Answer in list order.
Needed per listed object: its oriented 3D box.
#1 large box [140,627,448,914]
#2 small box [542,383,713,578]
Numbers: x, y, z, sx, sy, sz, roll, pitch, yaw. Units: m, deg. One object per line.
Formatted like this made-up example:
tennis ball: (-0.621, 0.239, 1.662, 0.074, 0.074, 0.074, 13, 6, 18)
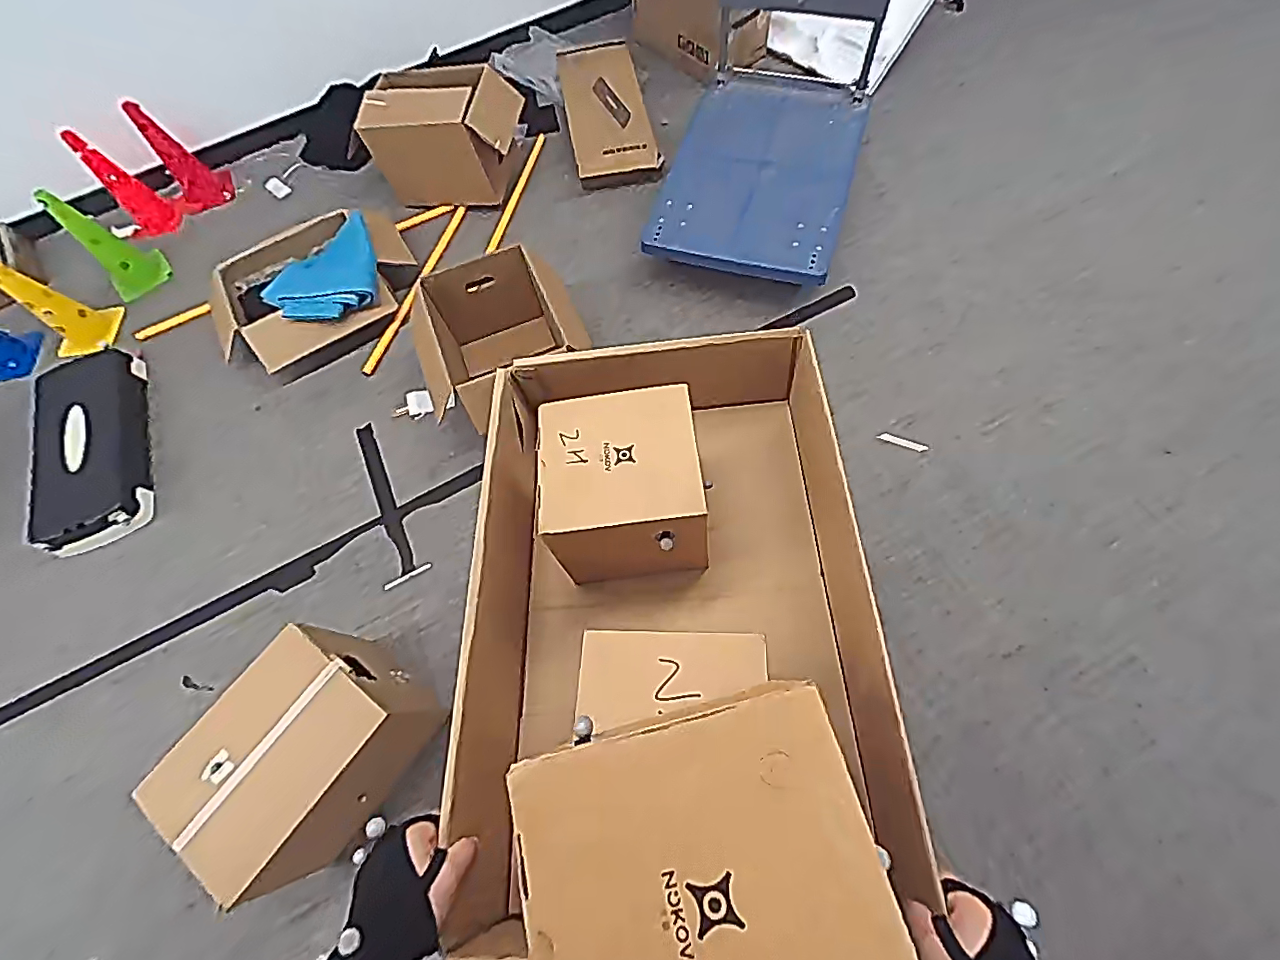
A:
large box: (-0.710, 0.590, 1.181, 0.320, 0.320, 0.408, 32, 73, 18)
small box: (-0.012, 0.009, 0.649, 0.179, 0.176, 0.168, -7, 61, 3)
